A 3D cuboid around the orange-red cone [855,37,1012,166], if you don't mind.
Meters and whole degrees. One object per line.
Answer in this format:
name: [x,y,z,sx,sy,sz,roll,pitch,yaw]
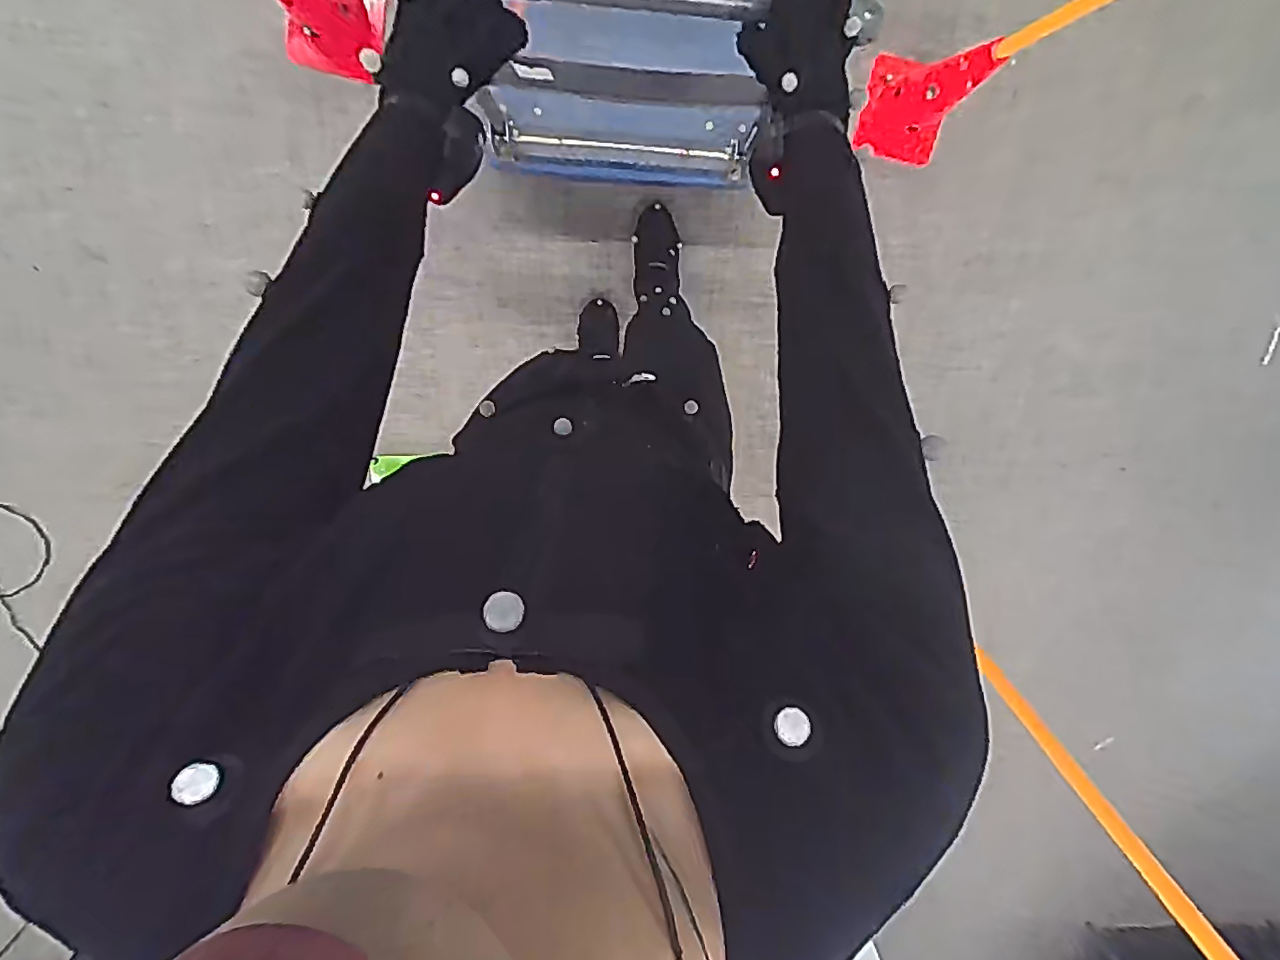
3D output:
orange-red cone: [0.628,-0.809,1.110,0.198,0.360,0.199,11,109,-6]
